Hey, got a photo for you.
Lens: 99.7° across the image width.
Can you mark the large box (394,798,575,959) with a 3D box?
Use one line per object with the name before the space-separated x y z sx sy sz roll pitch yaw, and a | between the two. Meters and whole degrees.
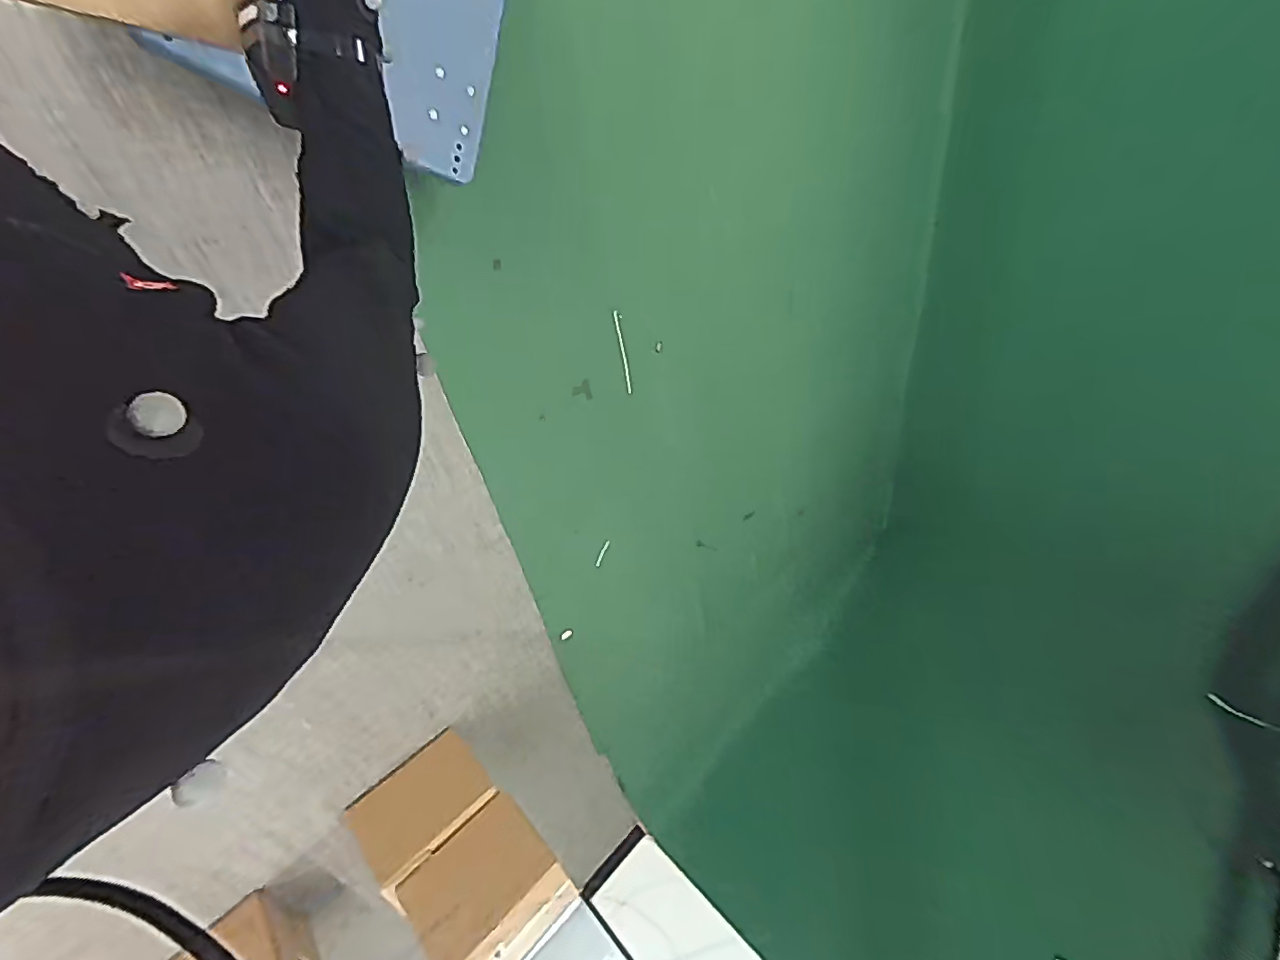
large box | -0.472 1.314 1.690 0.408 0.320 0.320 -35 135 -30
